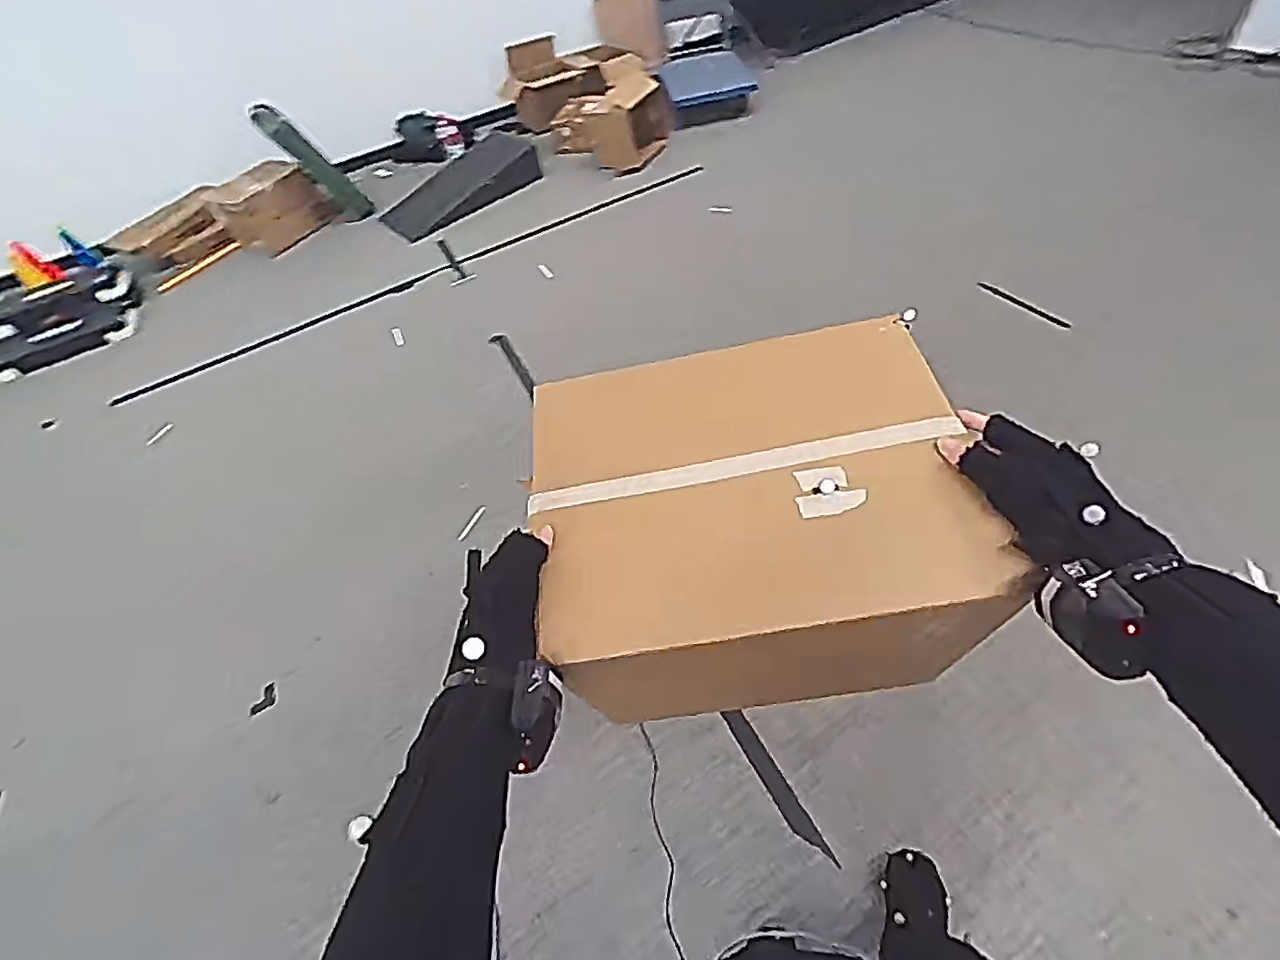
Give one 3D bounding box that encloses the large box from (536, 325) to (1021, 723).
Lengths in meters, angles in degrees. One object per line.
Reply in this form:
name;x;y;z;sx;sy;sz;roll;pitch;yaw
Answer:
large box;0.116;0.072;0.648;0.408;0.320;0.320;-11;57;3
